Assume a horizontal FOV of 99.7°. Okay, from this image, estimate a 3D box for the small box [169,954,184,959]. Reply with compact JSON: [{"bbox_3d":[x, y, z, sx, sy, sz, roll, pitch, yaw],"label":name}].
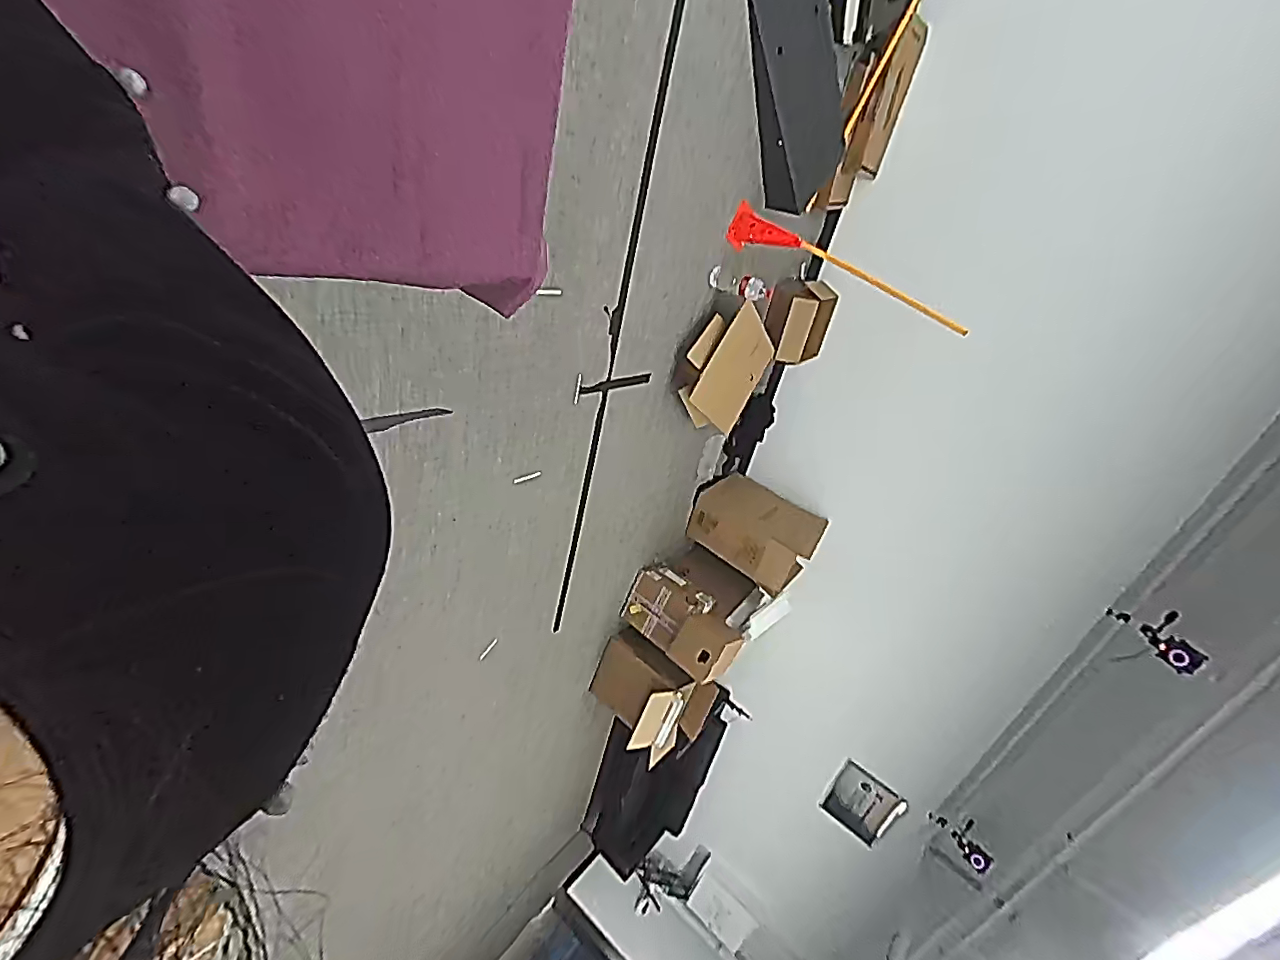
[{"bbox_3d":[-1.403,1.550,1.572,0.179,0.176,0.168,-23,135,-47],"label":"small box"}]
